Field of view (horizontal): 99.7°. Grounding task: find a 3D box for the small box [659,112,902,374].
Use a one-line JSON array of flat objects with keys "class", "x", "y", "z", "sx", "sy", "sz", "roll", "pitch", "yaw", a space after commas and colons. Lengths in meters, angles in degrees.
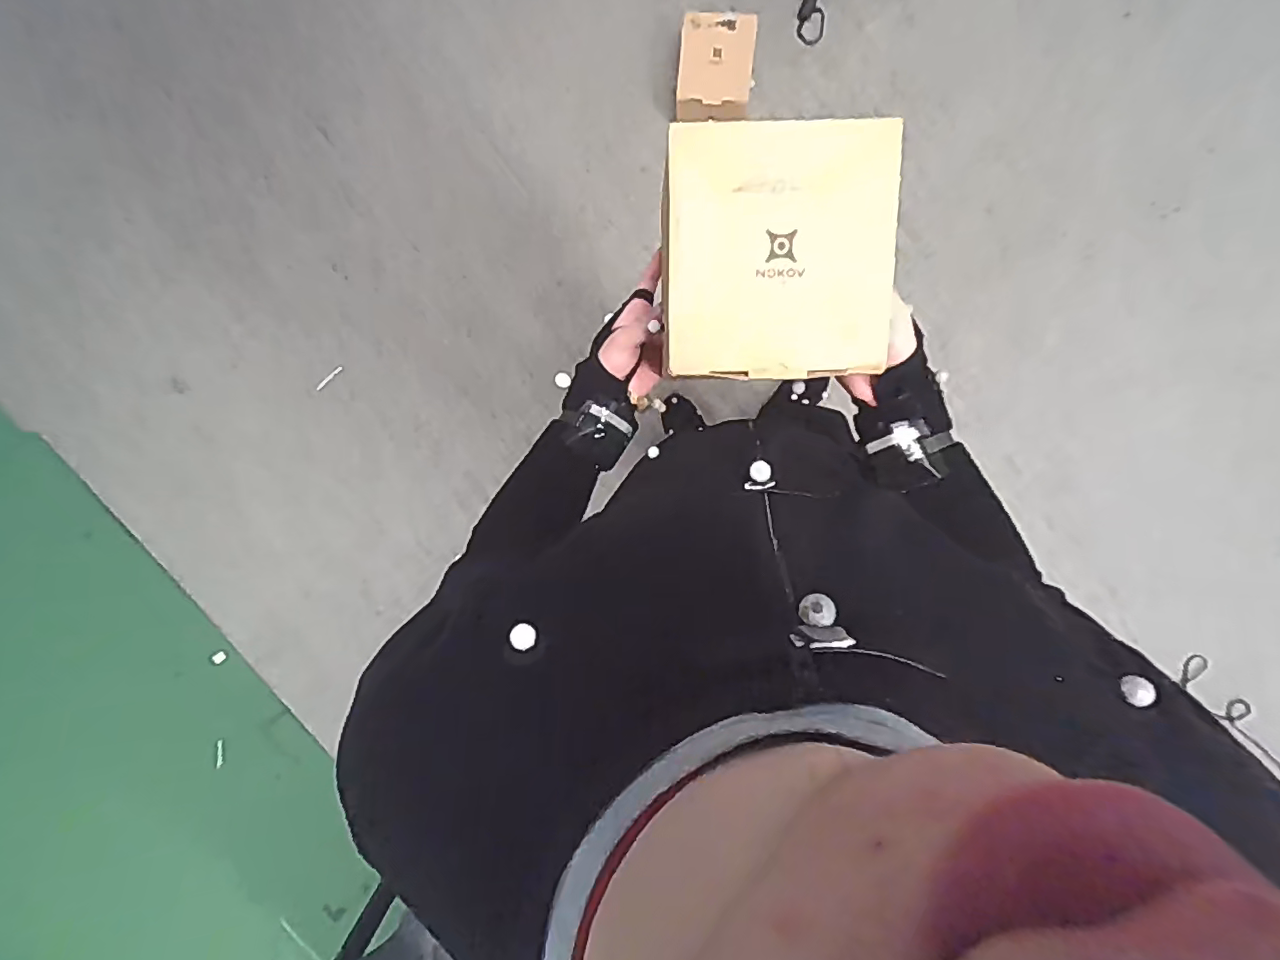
[{"class": "small box", "x": 0.103, "y": -0.182, "z": 0.469, "sx": 0.168, "sy": 0.176, "sz": 0.179, "roll": -1, "pitch": 99, "yaw": 0}]
